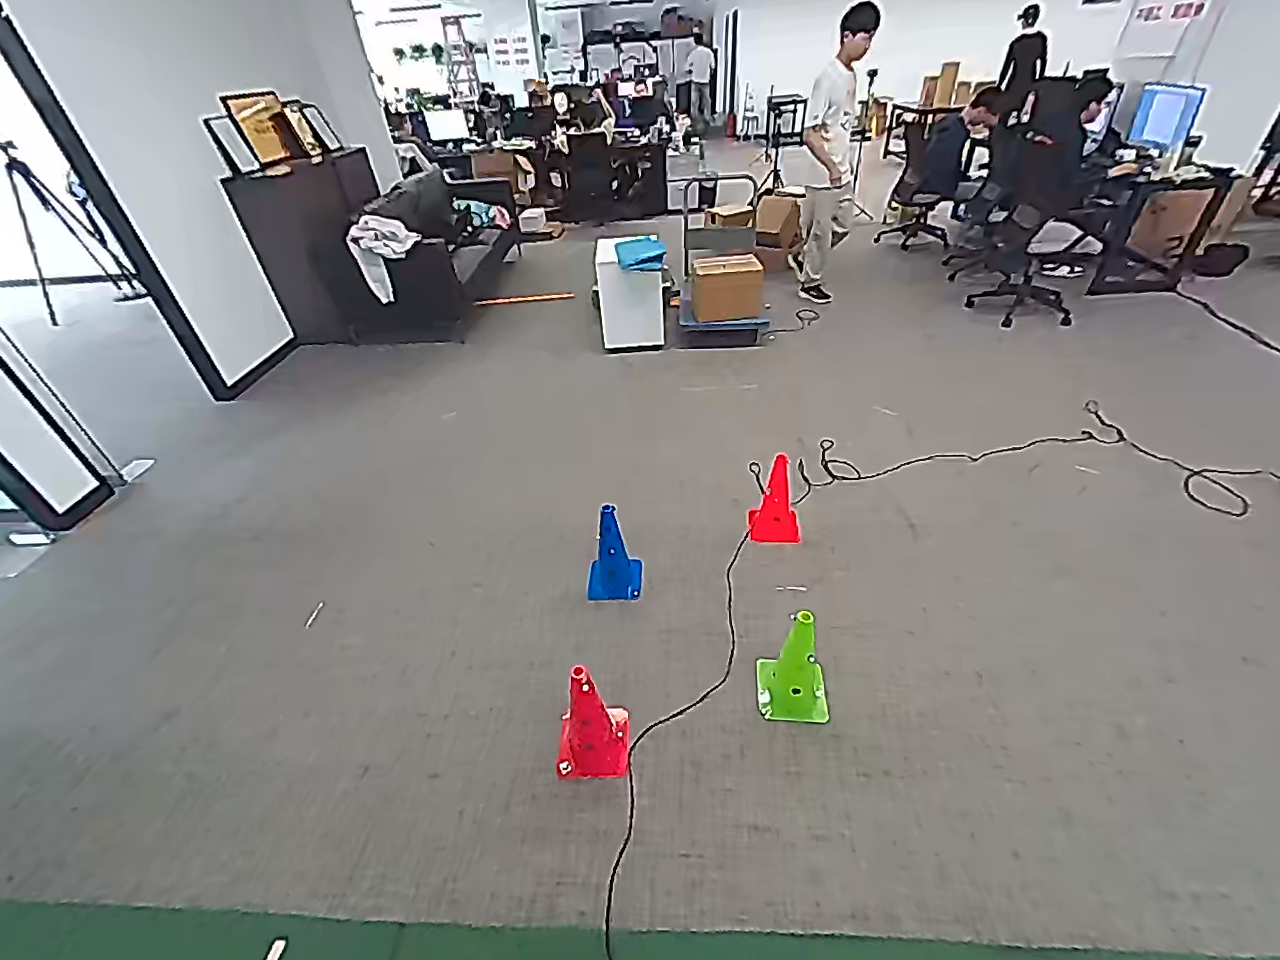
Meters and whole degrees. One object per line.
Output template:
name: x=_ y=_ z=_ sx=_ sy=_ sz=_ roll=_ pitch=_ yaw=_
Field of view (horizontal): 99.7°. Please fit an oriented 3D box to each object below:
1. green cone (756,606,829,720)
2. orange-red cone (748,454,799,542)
green cone: x=0.452 y=0.498 z=1.544 sx=0.200 sy=0.368 sz=0.202 roll=1 pitch=37 yaw=6
orange-red cone: x=0.532 y=0.051 z=2.118 sx=0.198 sy=0.360 sz=0.199 roll=1 pitch=39 yaw=9
